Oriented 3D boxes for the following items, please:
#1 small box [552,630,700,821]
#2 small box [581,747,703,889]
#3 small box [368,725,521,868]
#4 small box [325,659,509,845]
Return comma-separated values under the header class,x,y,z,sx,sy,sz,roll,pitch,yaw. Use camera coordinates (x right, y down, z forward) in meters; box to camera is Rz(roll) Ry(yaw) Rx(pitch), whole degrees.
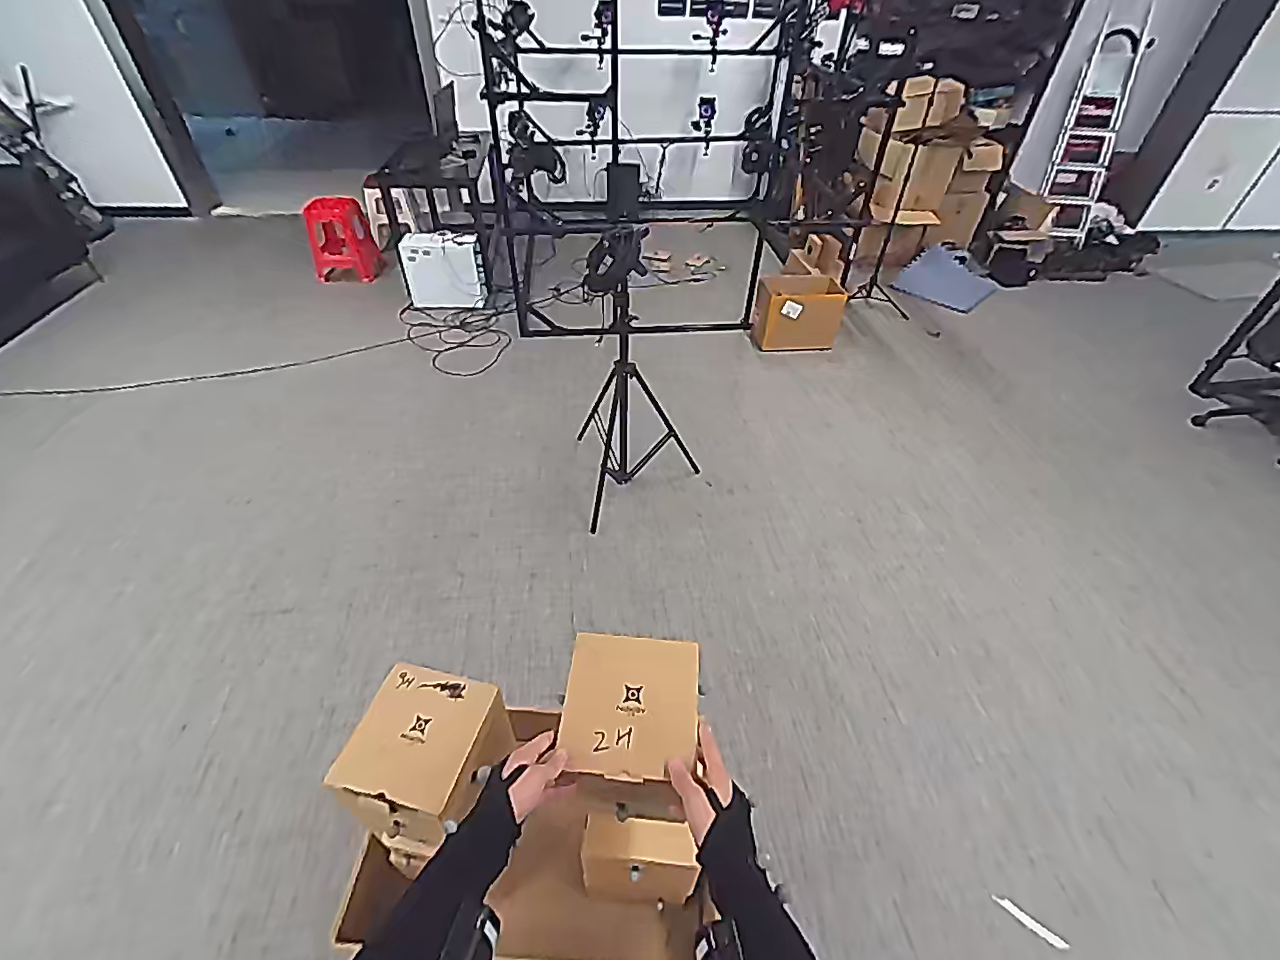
class,x,y,z,sx,sy,sz,roll,pitch,yaw
small box,-0.013,0.326,0.721,0.168,0.176,0.179,4,46,4
small box,0.007,0.543,0.880,0.179,0.176,0.168,4,42,4
small box,-0.308,0.513,0.899,0.168,0.176,0.179,8,42,7
small box,-0.303,0.395,0.784,0.168,0.176,0.179,11,43,9
